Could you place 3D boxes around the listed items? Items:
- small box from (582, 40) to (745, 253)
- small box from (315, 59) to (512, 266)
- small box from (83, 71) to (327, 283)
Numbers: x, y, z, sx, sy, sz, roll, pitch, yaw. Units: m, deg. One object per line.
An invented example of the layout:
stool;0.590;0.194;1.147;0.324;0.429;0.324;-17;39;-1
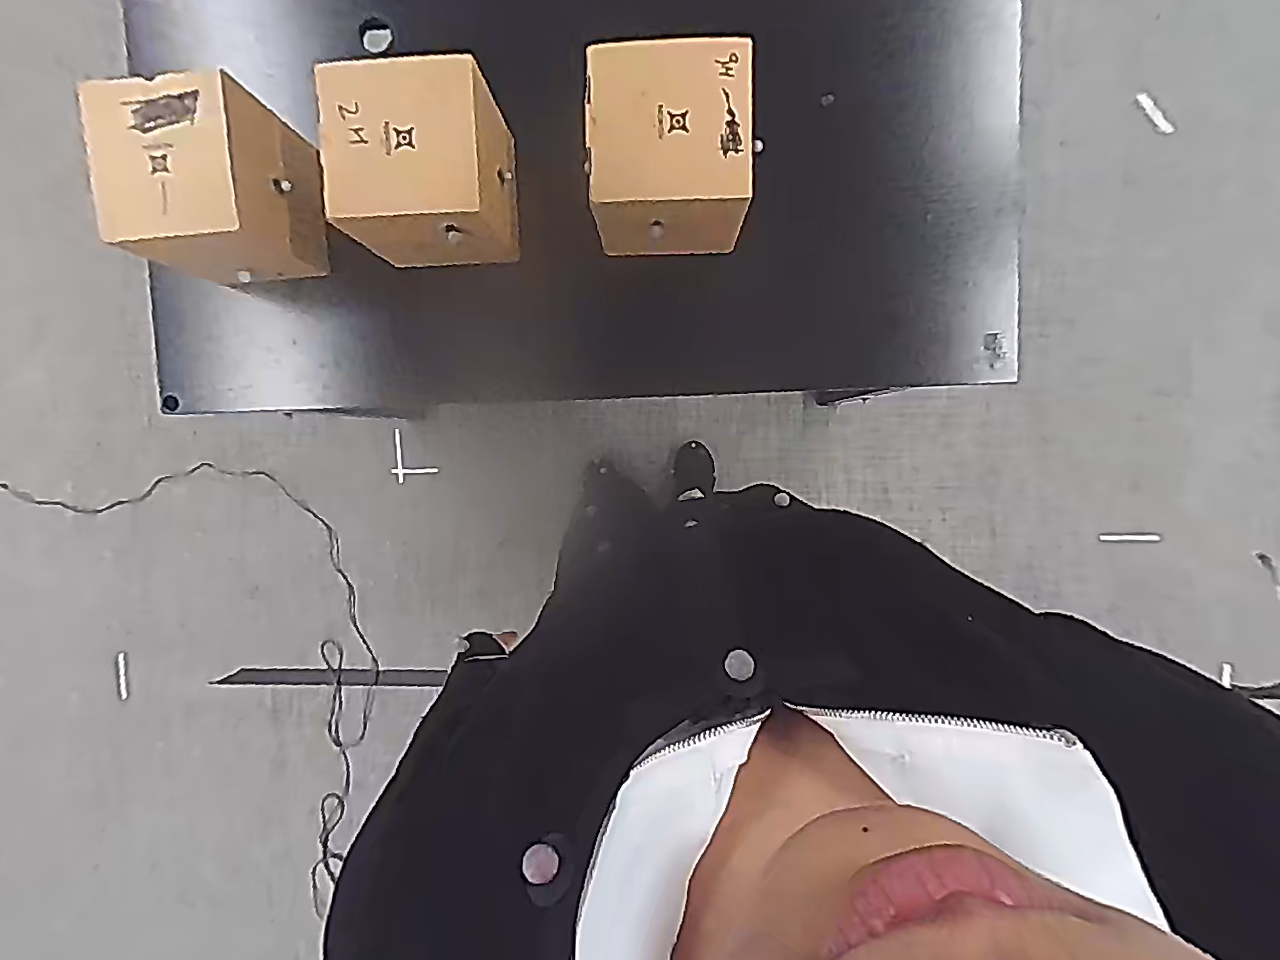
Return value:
small box;0.030;-0.388;0.660;0.179;0.176;0.168;0;94;3
small box;-0.263;-0.377;0.671;0.179;0.176;0.168;-2;93;2
small box;-0.529;-0.366;0.683;0.168;0.176;0.179;-4;95;3
